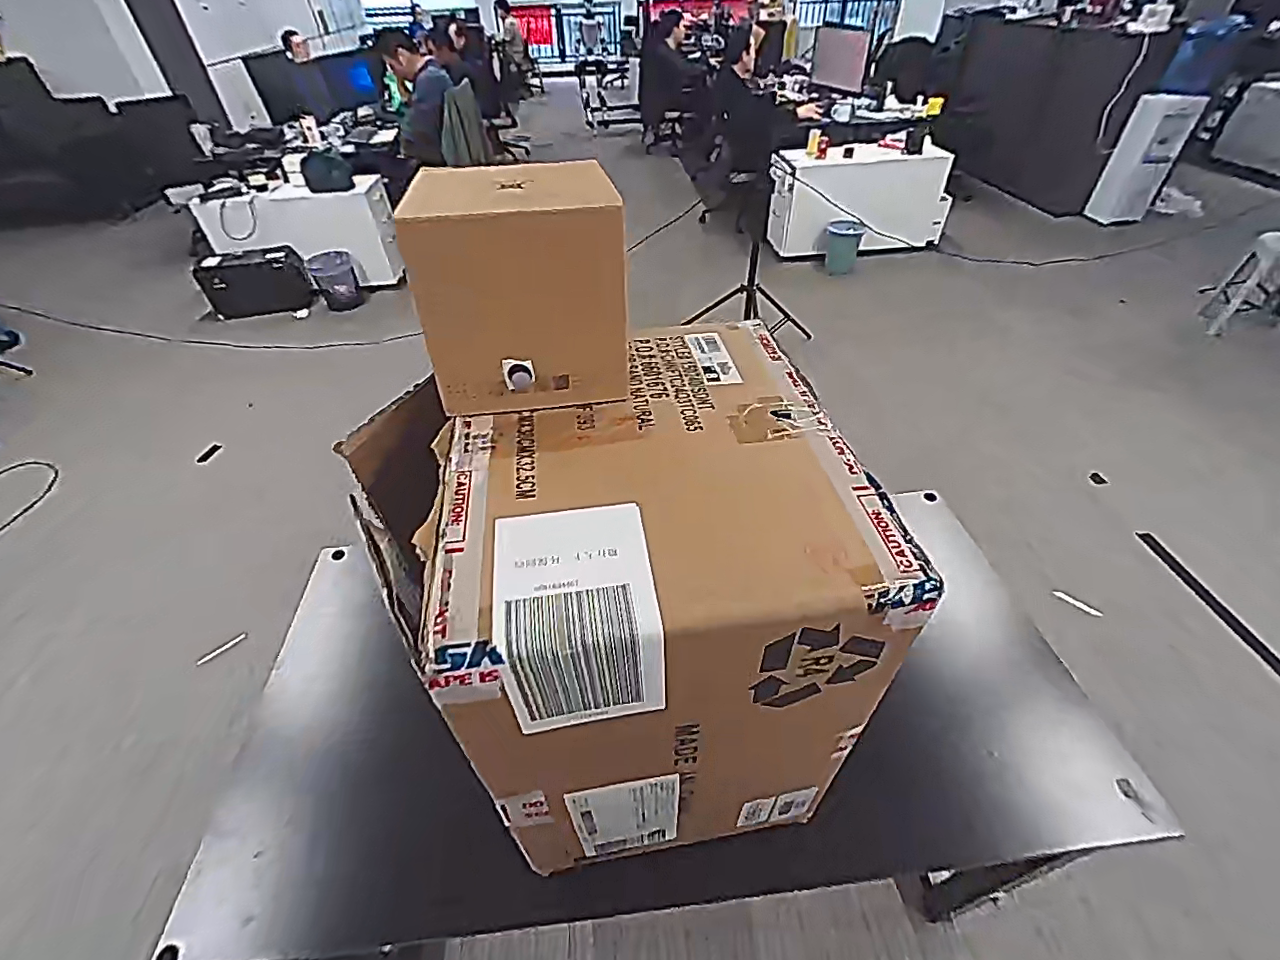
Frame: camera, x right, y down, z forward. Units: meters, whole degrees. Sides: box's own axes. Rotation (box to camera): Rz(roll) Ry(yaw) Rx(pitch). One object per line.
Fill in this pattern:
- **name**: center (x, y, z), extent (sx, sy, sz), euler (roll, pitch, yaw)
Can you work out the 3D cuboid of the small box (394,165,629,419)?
- **small box**: center (-0.106, -0.177, 0.500), extent (0.168, 0.176, 0.179), euler (-9, 41, -8)
